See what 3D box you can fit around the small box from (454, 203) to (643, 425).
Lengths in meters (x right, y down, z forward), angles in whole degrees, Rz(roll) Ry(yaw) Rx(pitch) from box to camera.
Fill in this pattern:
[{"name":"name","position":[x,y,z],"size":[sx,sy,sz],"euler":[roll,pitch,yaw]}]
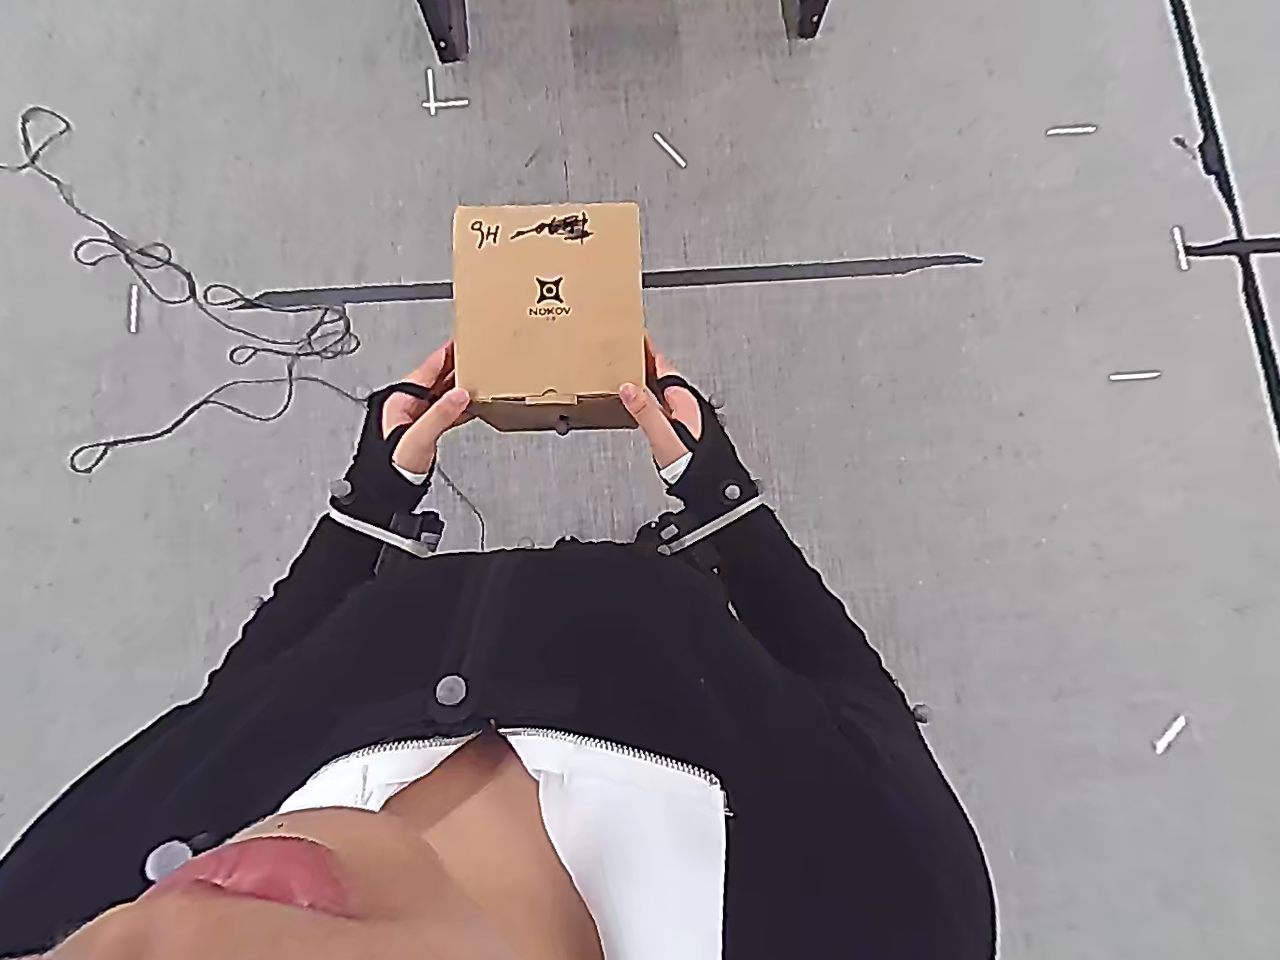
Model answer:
[{"name":"small box","position":[-0.081,-0.152,0.553],"size":[0.168,0.176,0.179],"euler":[-2,86,-1]}]
